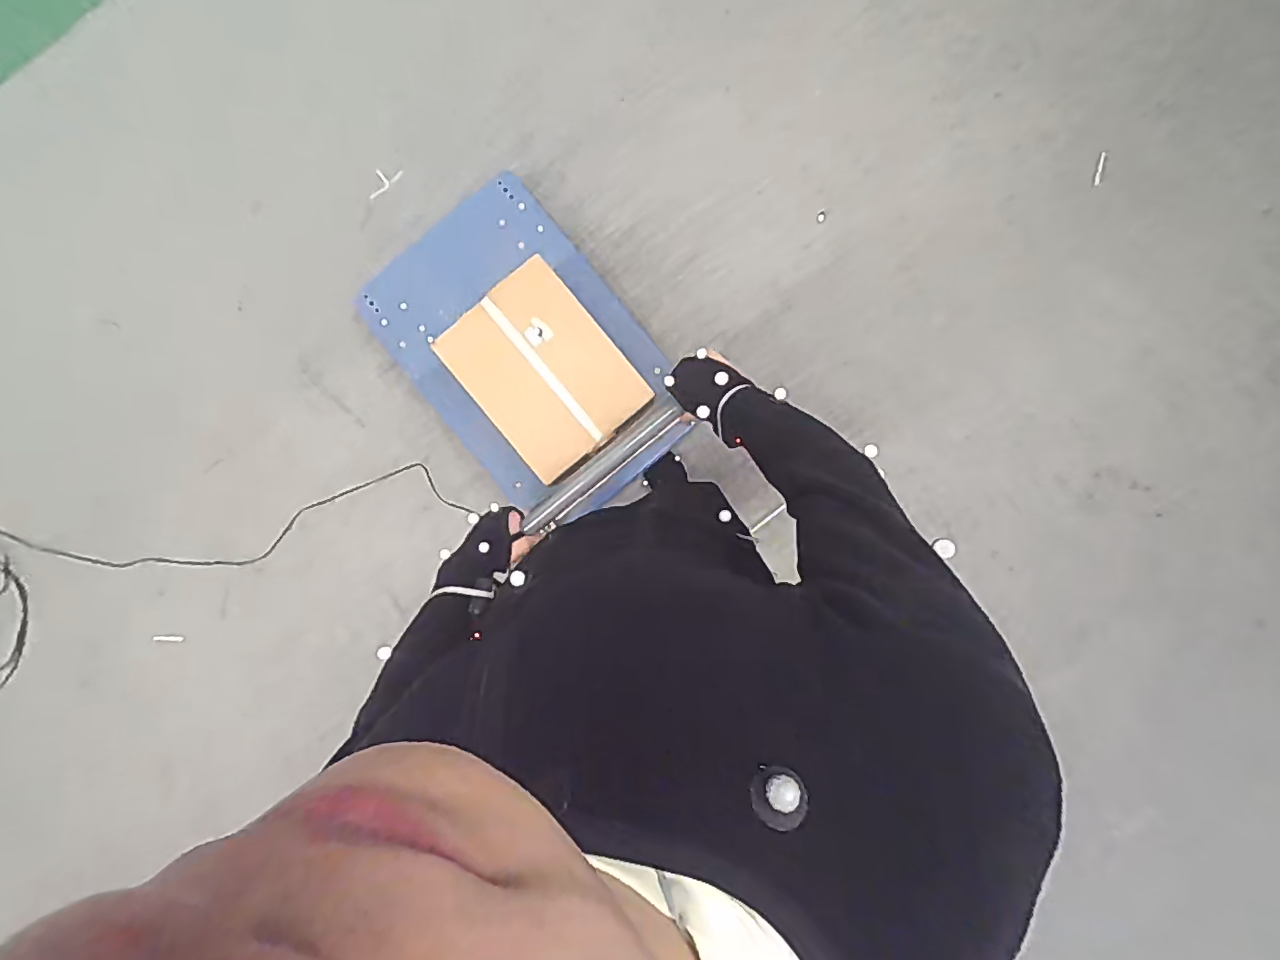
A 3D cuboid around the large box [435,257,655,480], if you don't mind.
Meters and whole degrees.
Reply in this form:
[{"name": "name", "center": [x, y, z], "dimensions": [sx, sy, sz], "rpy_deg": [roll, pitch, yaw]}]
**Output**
[{"name": "large box", "center": [-0.205, -0.245, 1.332], "dimensions": [0.320, 0.320, 0.408], "rpy_deg": [-40, 89, 1]}]
